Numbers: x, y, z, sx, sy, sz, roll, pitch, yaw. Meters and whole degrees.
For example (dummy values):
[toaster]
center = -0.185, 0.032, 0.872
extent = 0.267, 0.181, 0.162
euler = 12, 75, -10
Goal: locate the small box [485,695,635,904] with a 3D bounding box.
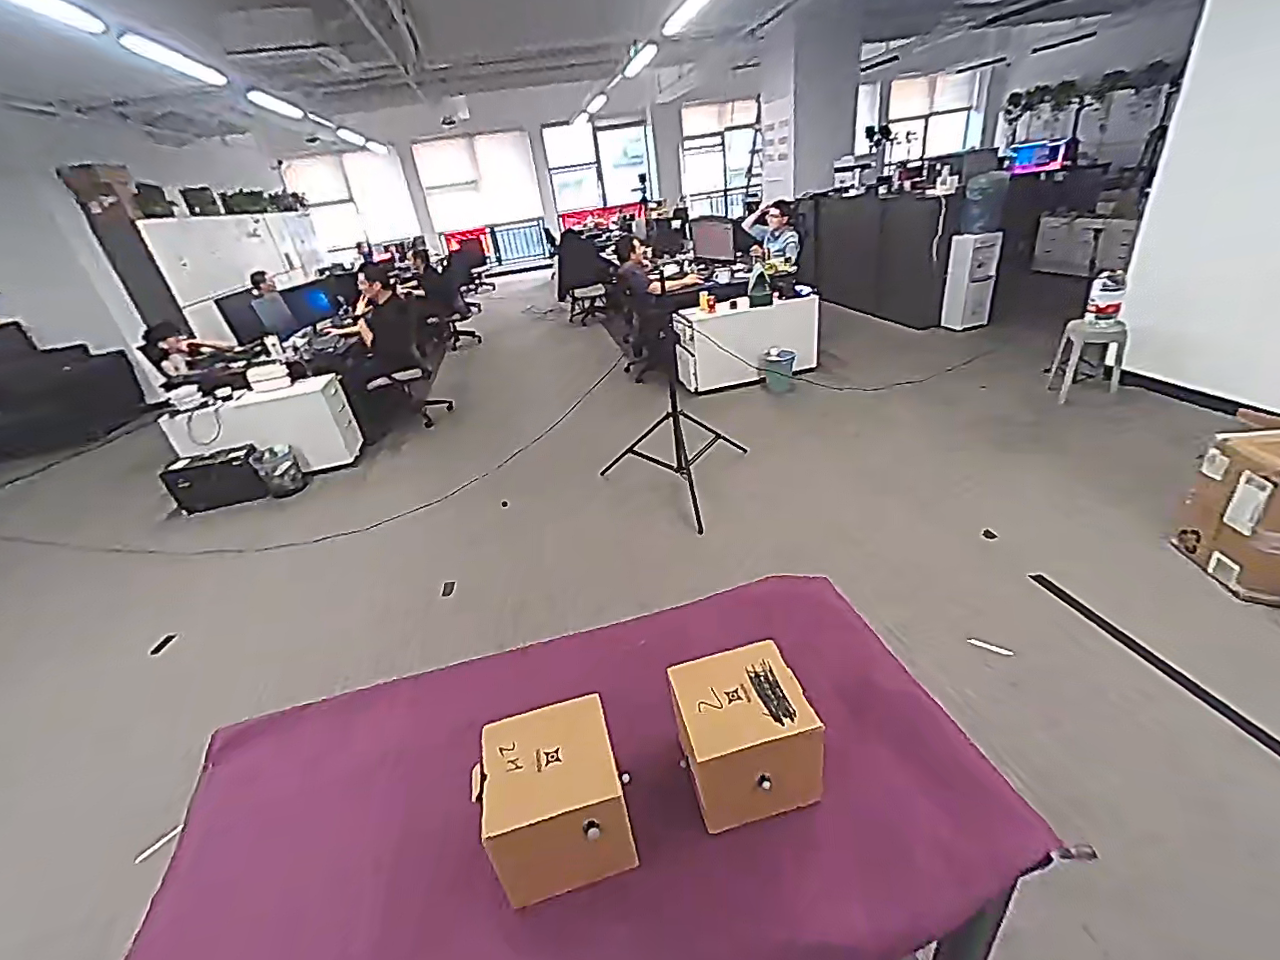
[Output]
[small box]
center = -0.110, 0.444, 0.761
extent = 0.179, 0.176, 0.168
euler = -14, 28, -9
